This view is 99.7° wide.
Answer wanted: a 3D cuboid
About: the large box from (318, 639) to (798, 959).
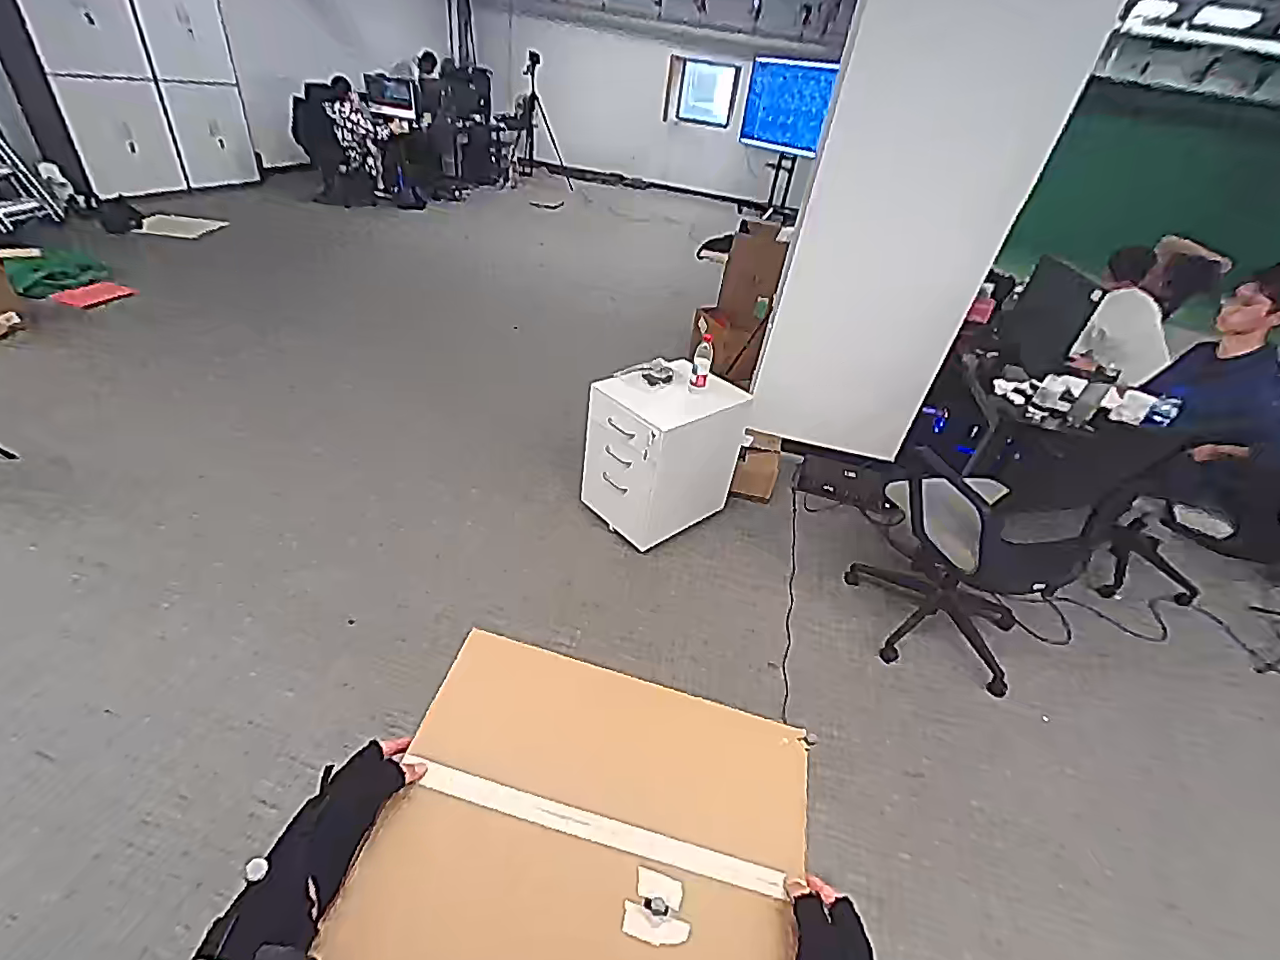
[{"bbox_3d":[-0.066,0.445,0.634,0.408,0.320,0.320,17,45,3],"label":"large box"}]
